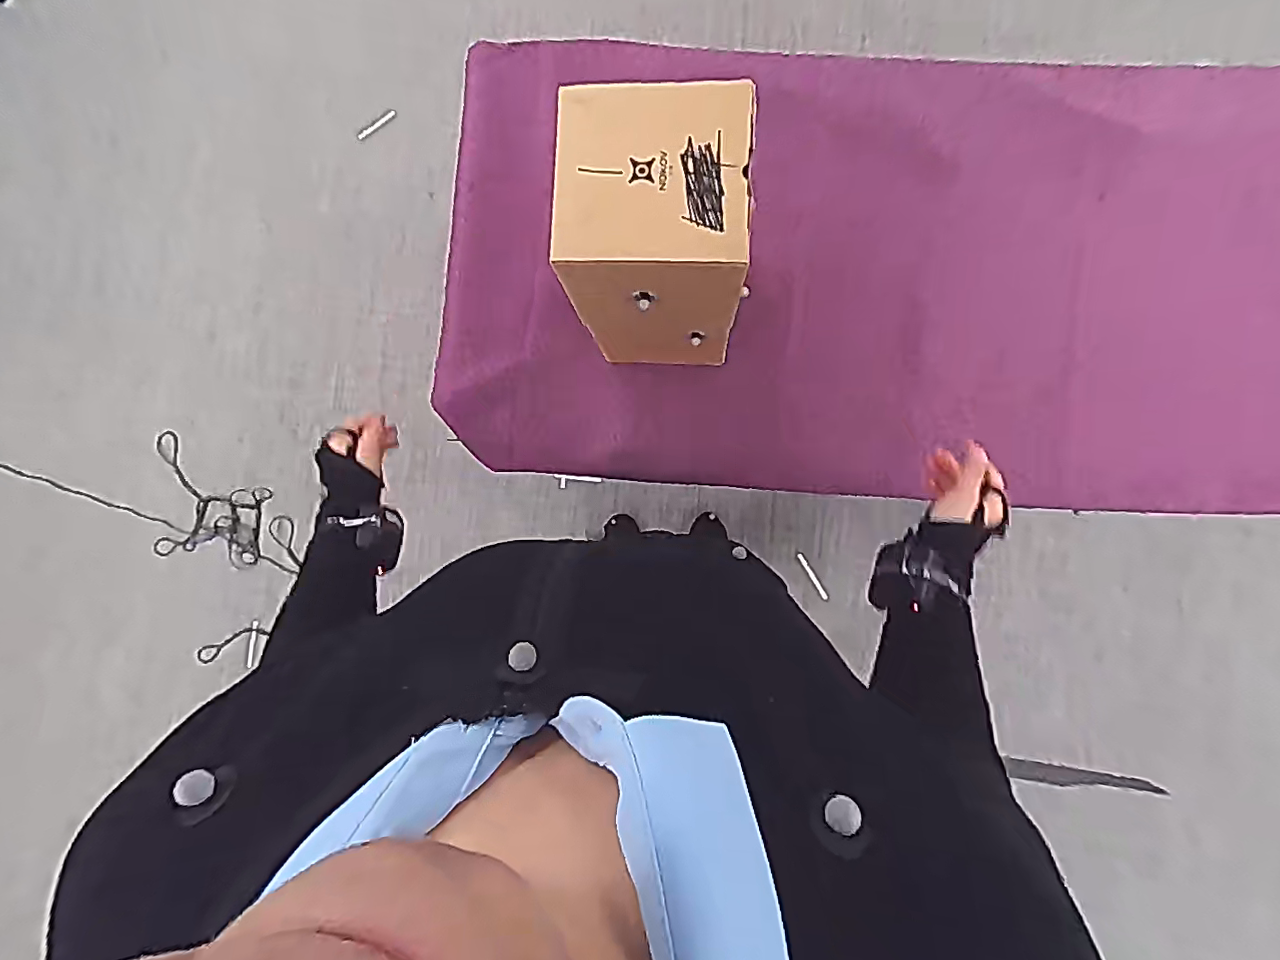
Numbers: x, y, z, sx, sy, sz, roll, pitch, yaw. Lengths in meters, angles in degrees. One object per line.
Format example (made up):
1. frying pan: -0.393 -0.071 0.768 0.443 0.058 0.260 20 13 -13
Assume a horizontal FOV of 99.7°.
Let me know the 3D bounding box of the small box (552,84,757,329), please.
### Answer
1. small box: 0.018 -0.264 0.556 0.179 0.176 0.168 2 86 5

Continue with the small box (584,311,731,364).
1. small box: 0.031 -0.258 0.720 0.179 0.176 0.168 3 87 5
